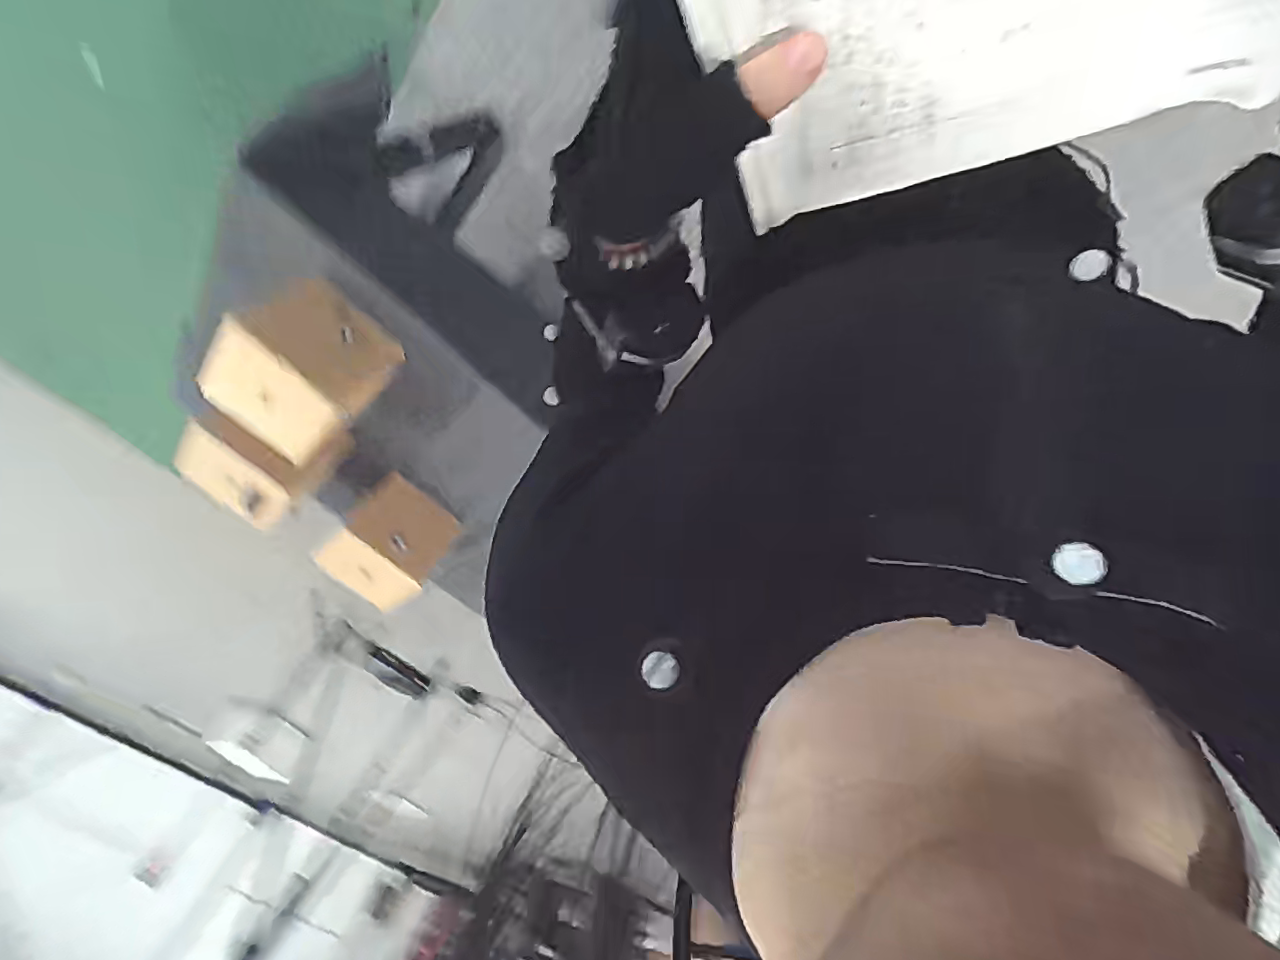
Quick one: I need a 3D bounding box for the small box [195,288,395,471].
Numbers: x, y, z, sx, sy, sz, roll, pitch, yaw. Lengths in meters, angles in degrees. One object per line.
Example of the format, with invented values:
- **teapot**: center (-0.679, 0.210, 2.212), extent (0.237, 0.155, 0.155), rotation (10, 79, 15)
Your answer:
- **small box**: center (-0.507, -0.150, 0.812), extent (0.179, 0.176, 0.168), rotation (-32, 114, 35)
